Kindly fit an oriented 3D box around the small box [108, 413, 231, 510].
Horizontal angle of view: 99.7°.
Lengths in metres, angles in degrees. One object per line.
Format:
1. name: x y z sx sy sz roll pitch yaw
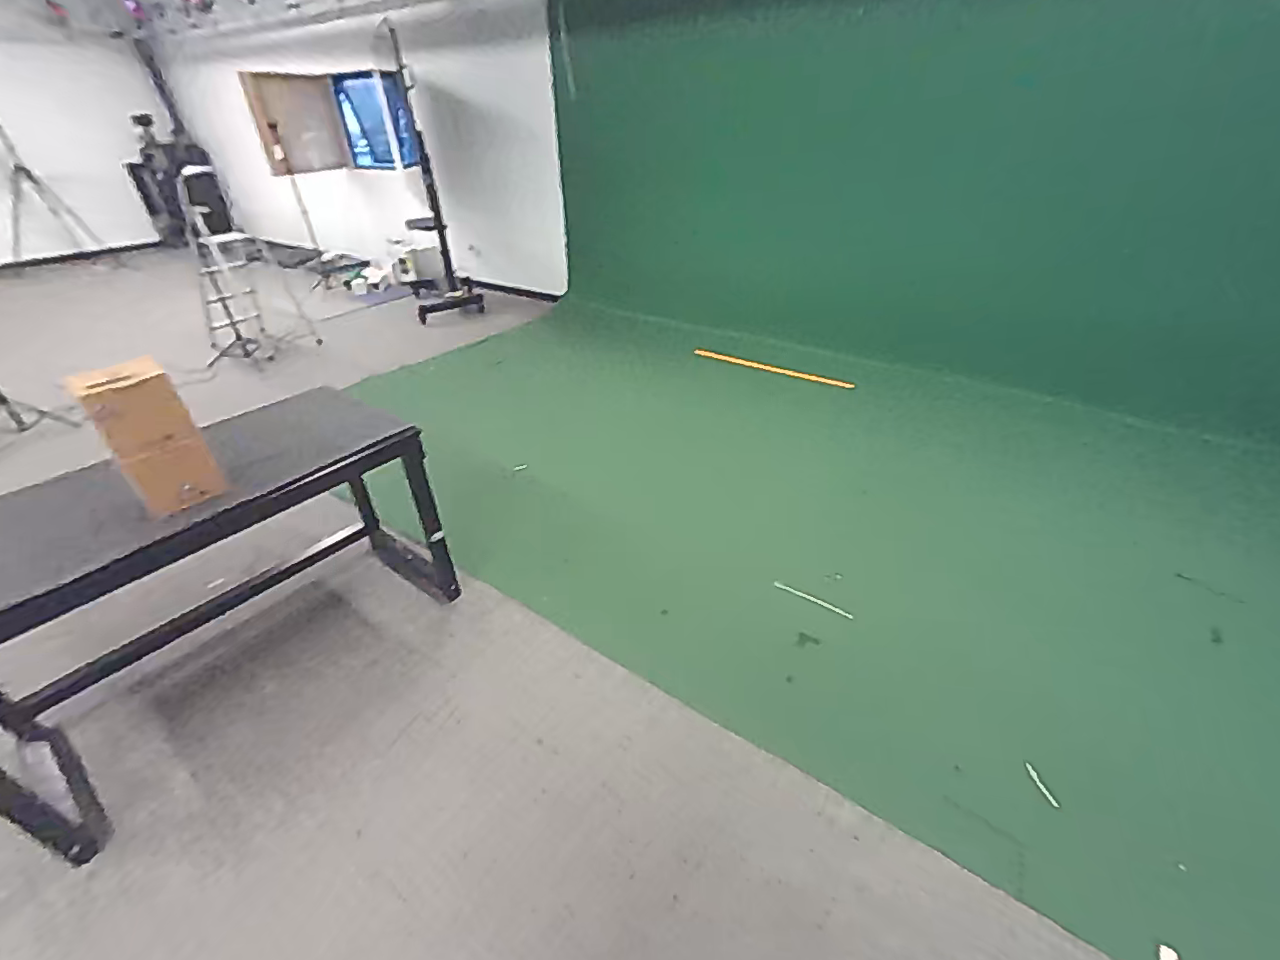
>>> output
1. small box: -1.201 -0.047 1.387 0.179 0.176 0.168 23 42 32
